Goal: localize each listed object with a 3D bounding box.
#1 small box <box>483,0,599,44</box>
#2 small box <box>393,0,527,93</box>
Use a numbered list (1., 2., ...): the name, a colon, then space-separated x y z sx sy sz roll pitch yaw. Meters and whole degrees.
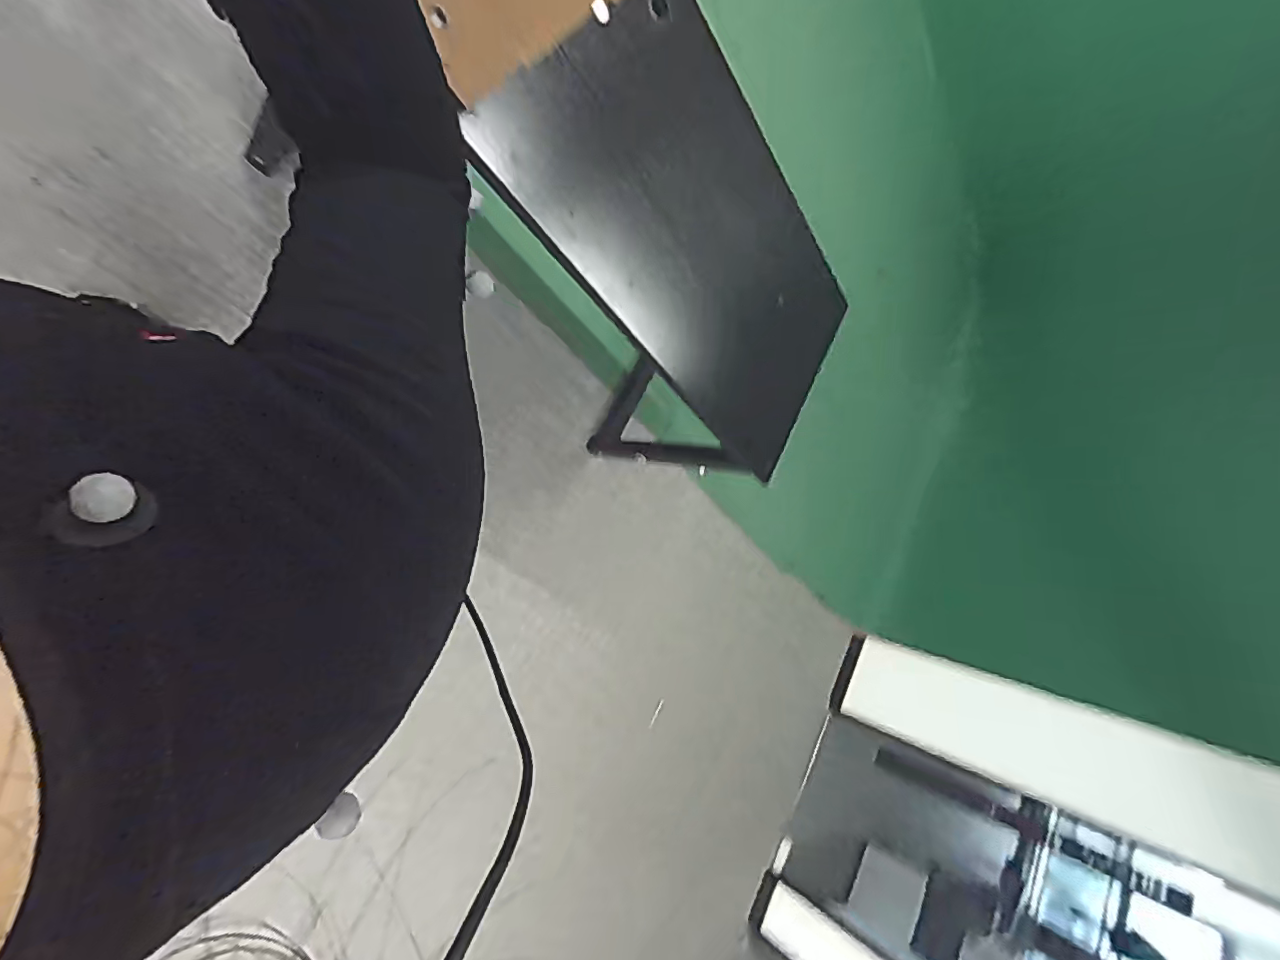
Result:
1. small box: -0.094 -0.600 0.555 0.179 0.176 0.168 43 69 -38
2. small box: -0.199 -0.637 0.675 0.168 0.176 0.179 43 68 -39
